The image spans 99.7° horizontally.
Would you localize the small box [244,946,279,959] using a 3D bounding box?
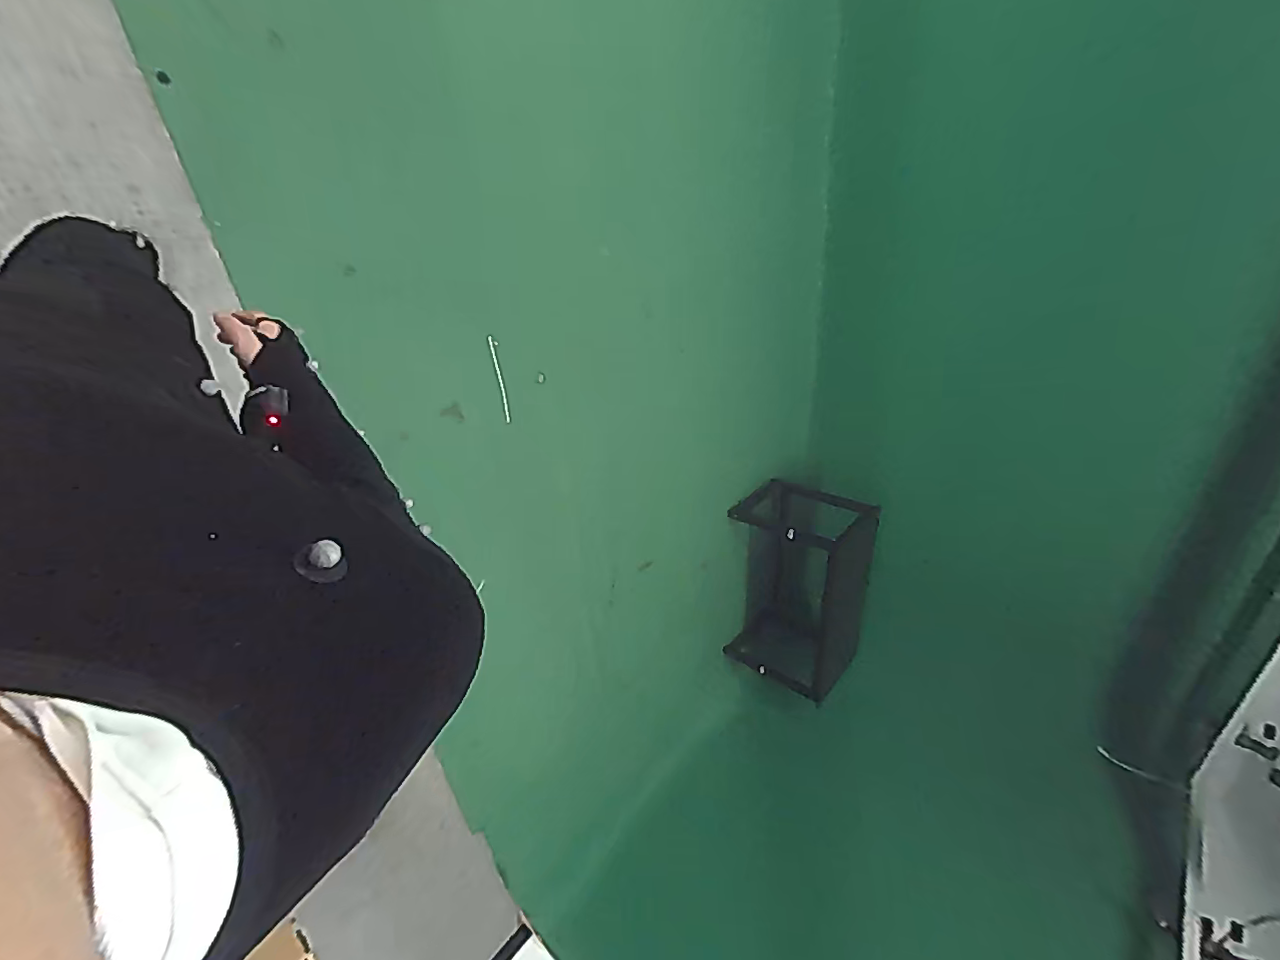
[{"bbox_3d":[-0.962,1.313,1.331,0.168,0.176,0.179,-24,124,-41],"label":"small box"}]
